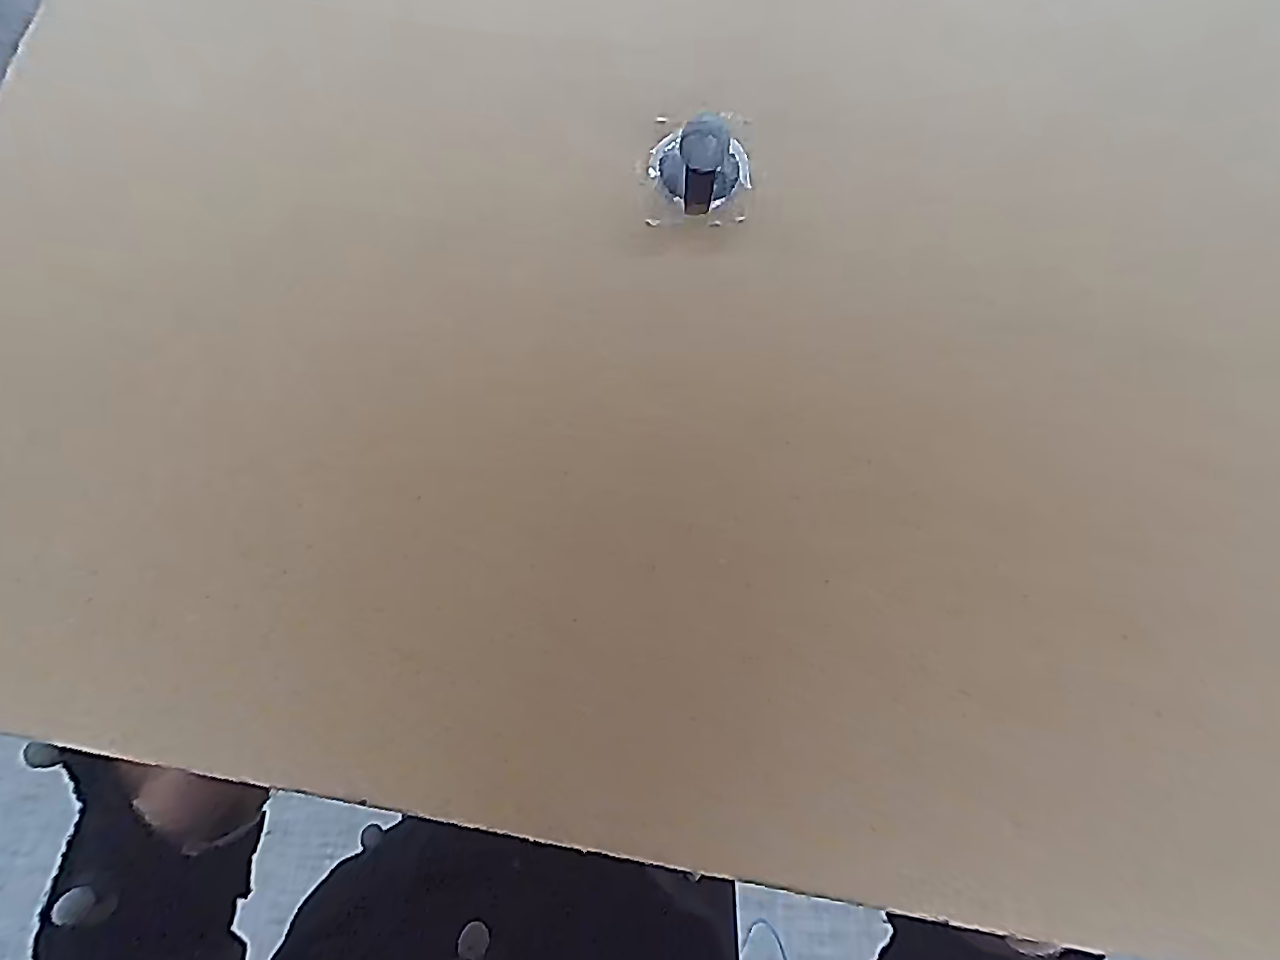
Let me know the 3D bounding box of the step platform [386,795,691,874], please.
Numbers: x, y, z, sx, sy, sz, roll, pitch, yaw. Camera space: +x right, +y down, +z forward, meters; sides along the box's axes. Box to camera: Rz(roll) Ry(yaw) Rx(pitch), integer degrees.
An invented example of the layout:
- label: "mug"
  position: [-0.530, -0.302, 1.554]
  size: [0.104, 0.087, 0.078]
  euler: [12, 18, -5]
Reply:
- label: "step platform"
  position: [-0.198, 0.653, 1.227]
  size: [0.684, 0.204, 0.286]
  euler: [10, 73, 2]
